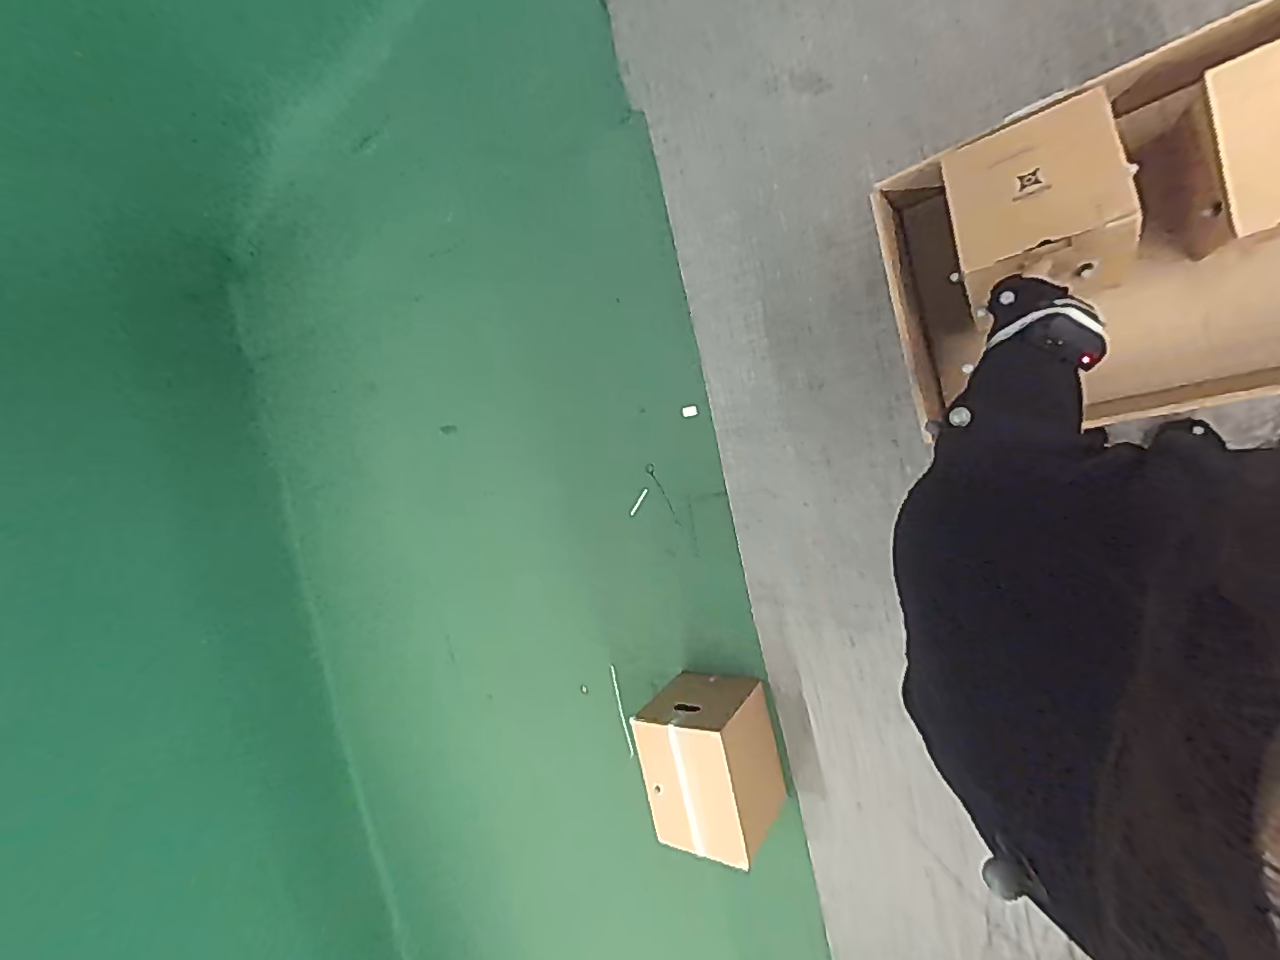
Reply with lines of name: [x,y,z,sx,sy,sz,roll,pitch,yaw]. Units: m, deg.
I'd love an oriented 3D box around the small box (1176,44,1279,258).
small box: [0.716,-0.363,0.580,0.168,0.176,0.179,-12,94,38]
